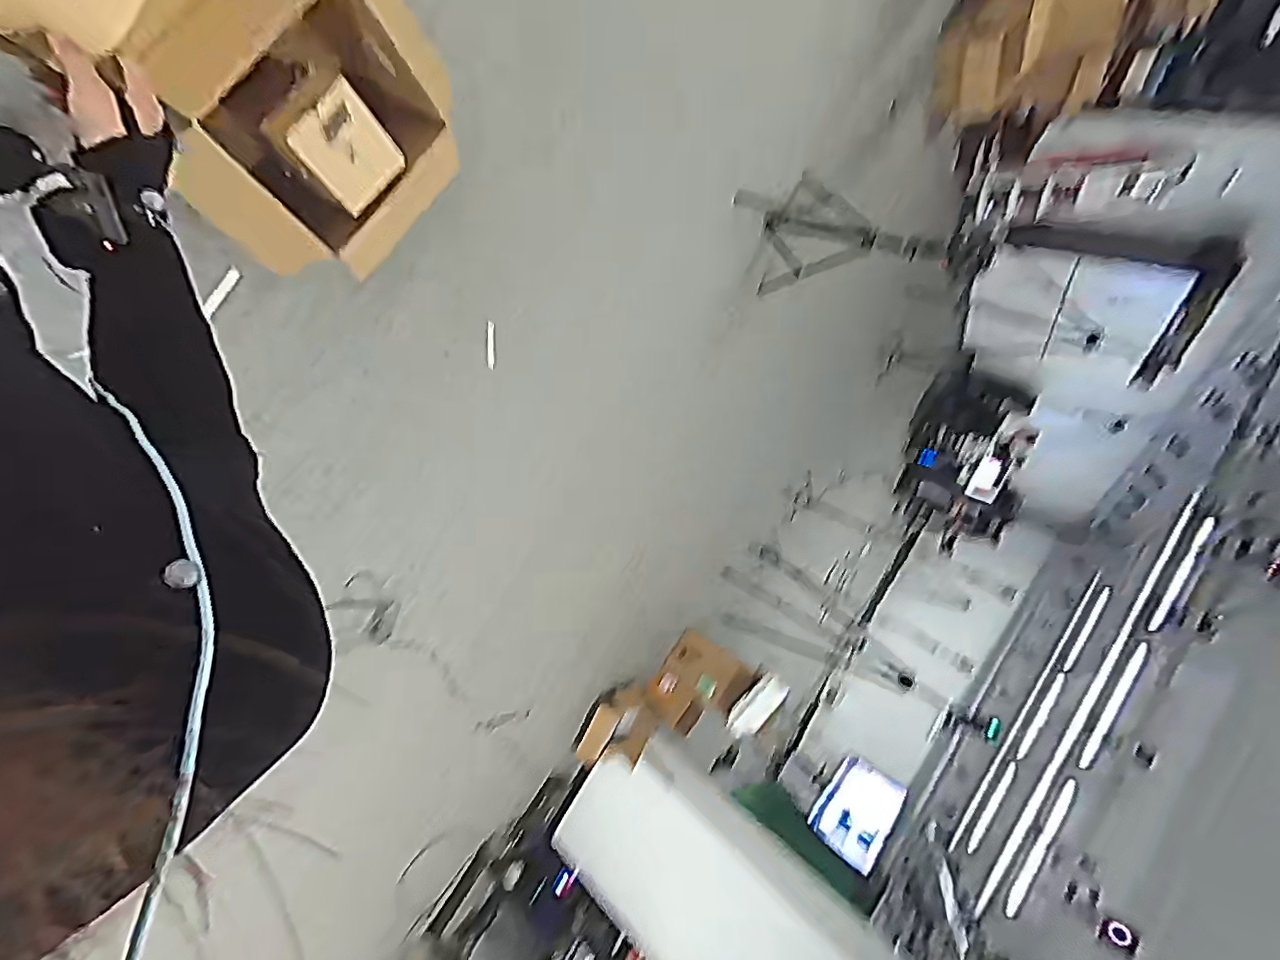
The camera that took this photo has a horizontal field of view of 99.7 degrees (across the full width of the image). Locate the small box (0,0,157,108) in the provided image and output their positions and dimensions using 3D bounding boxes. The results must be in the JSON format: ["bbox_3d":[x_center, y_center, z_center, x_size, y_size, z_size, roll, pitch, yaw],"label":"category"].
[{"bbox_3d":[-0.519,-0.438,0.410,0.168,0.176,0.179,-61,160,3],"label":"small box"}]
